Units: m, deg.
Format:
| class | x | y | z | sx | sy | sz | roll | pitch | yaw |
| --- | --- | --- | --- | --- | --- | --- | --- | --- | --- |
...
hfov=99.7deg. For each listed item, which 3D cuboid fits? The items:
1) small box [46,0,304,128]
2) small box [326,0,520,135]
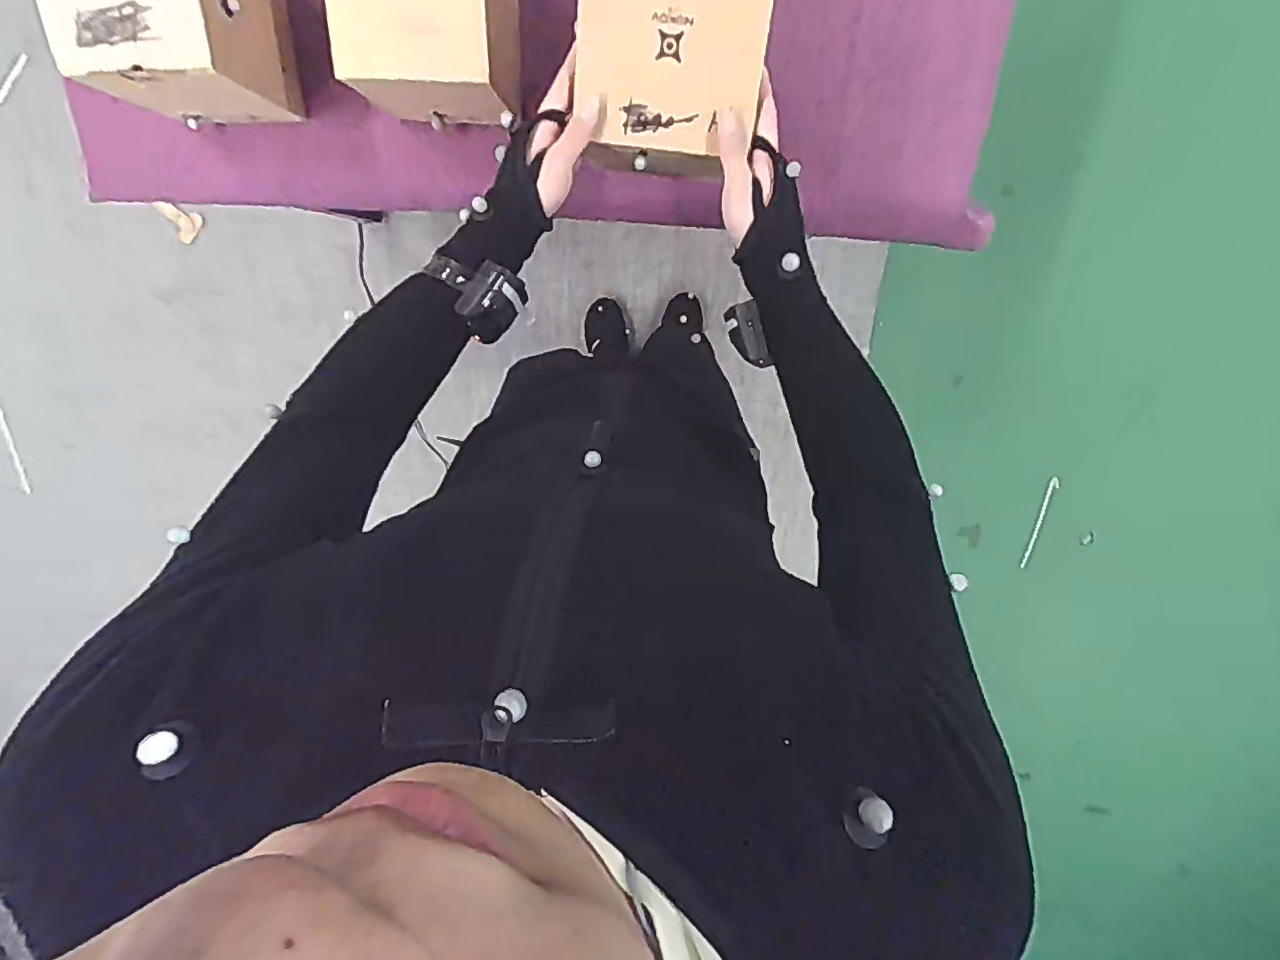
| class | x | y | z | sx | sy | sz | roll | pitch | yaw |
| --- | --- | --- | --- | --- | --- | --- | --- | --- | --- |
| small box | -0.527 | -0.528 | 0.627 | 0.168 | 0.176 | 0.179 | -1 | 107 | 1 |
| small box | -0.241 | -0.528 | 0.629 | 0.168 | 0.176 | 0.179 | 3 | 110 | 1 |
